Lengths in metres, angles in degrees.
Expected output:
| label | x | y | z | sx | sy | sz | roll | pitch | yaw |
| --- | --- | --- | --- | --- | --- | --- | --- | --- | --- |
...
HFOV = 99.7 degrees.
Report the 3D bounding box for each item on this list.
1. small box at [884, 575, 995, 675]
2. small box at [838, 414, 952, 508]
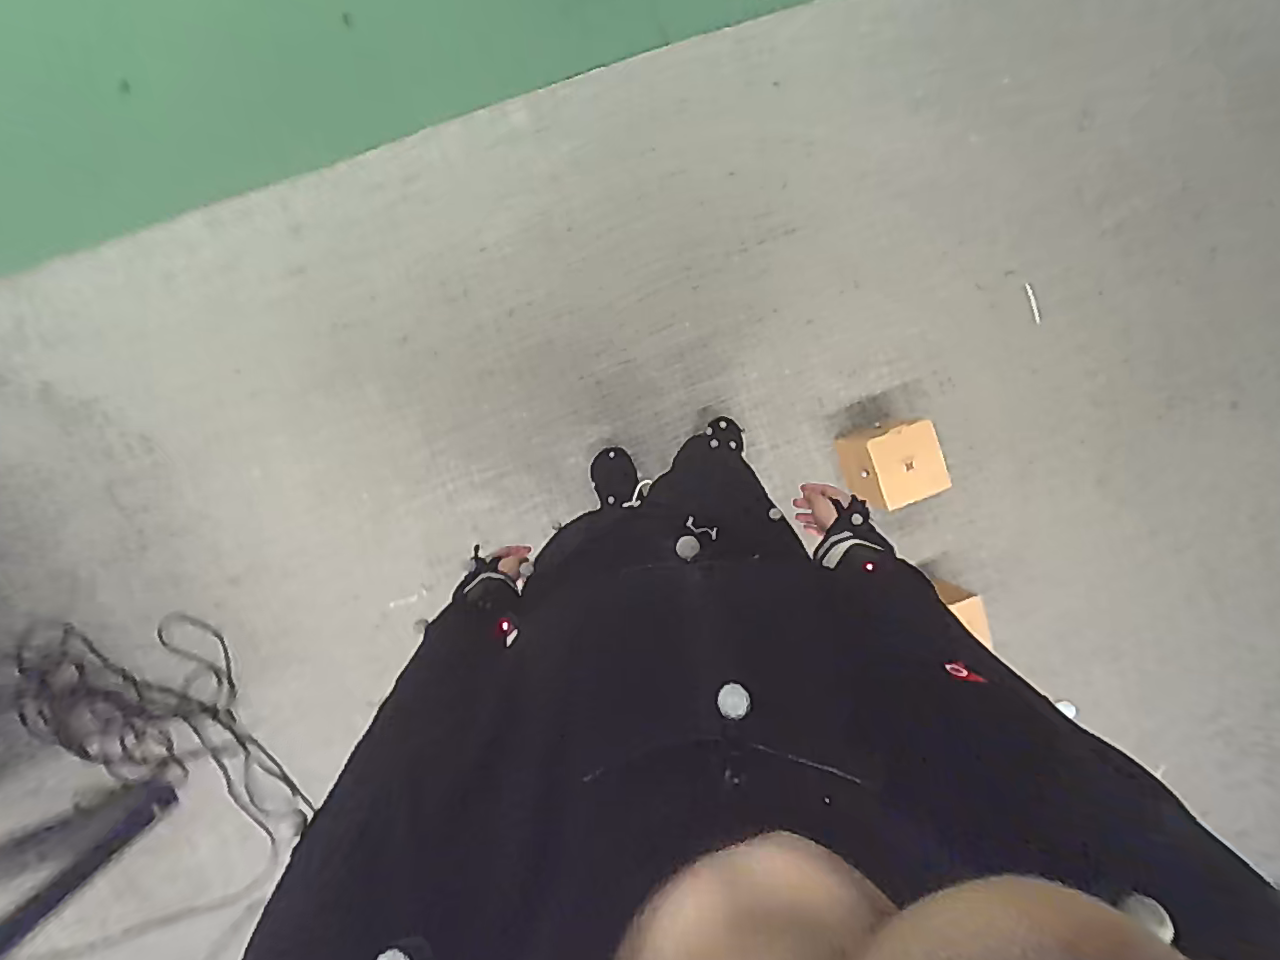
| label | x | y | z | sx | sy | sz | roll | pitch | yaw |
| --- | --- | --- | --- | --- | --- | --- | --- | --- | --- |
| small box | 0.741 | 0.357 | 1.360 | 0.179 | 0.176 | 0.168 | -17 | 97 | -5 |
| small box | 0.611 | -0.051 | 1.314 | 0.168 | 0.176 | 0.179 | -21 | 96 | -3 |
